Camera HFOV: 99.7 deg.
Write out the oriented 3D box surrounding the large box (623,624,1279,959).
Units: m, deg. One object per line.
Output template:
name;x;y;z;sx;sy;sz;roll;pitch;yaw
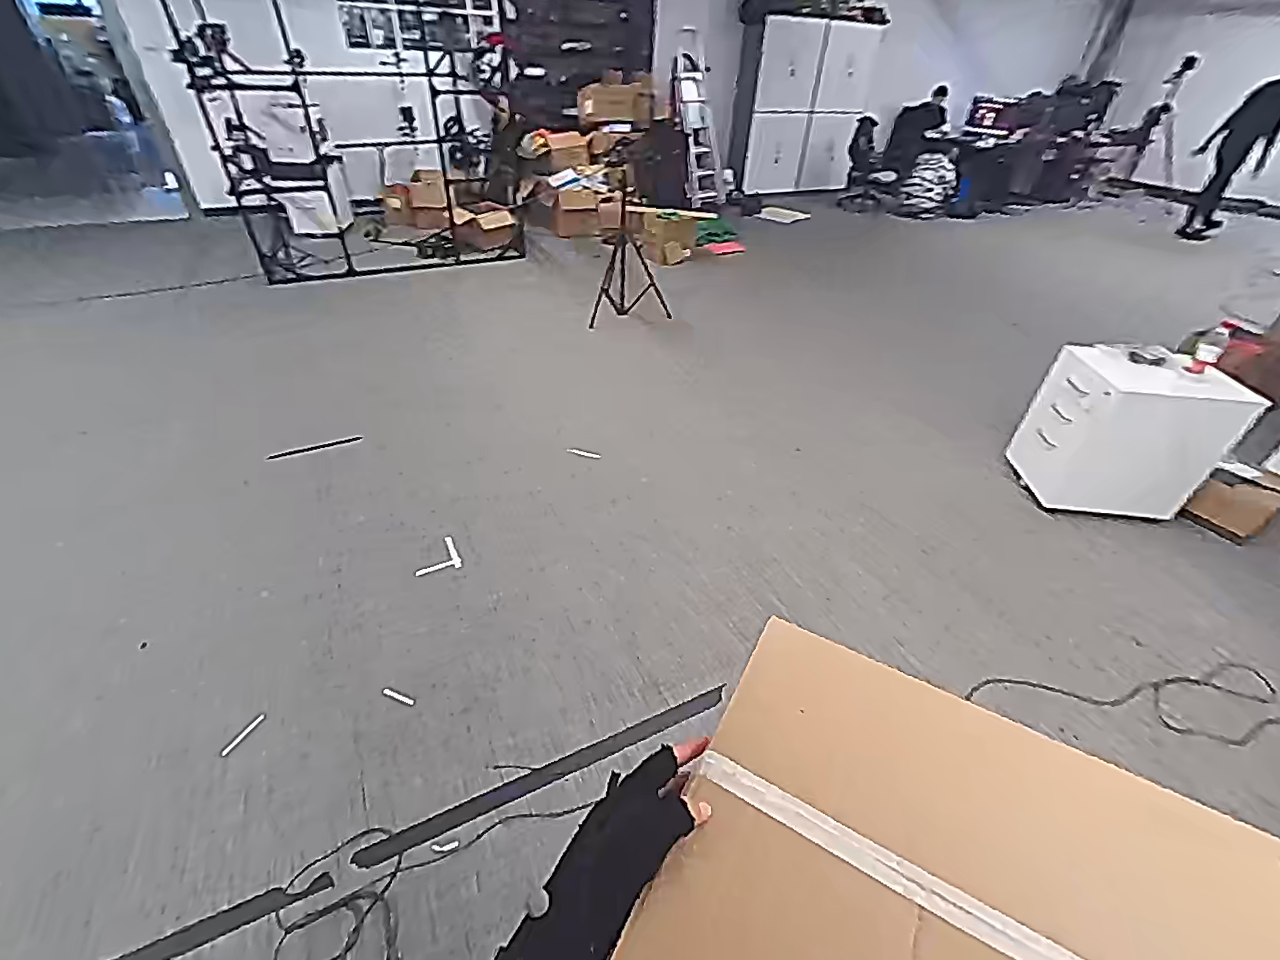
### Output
large box;0.233;0.403;0.475;0.408;0.320;0.320;21;49;23
